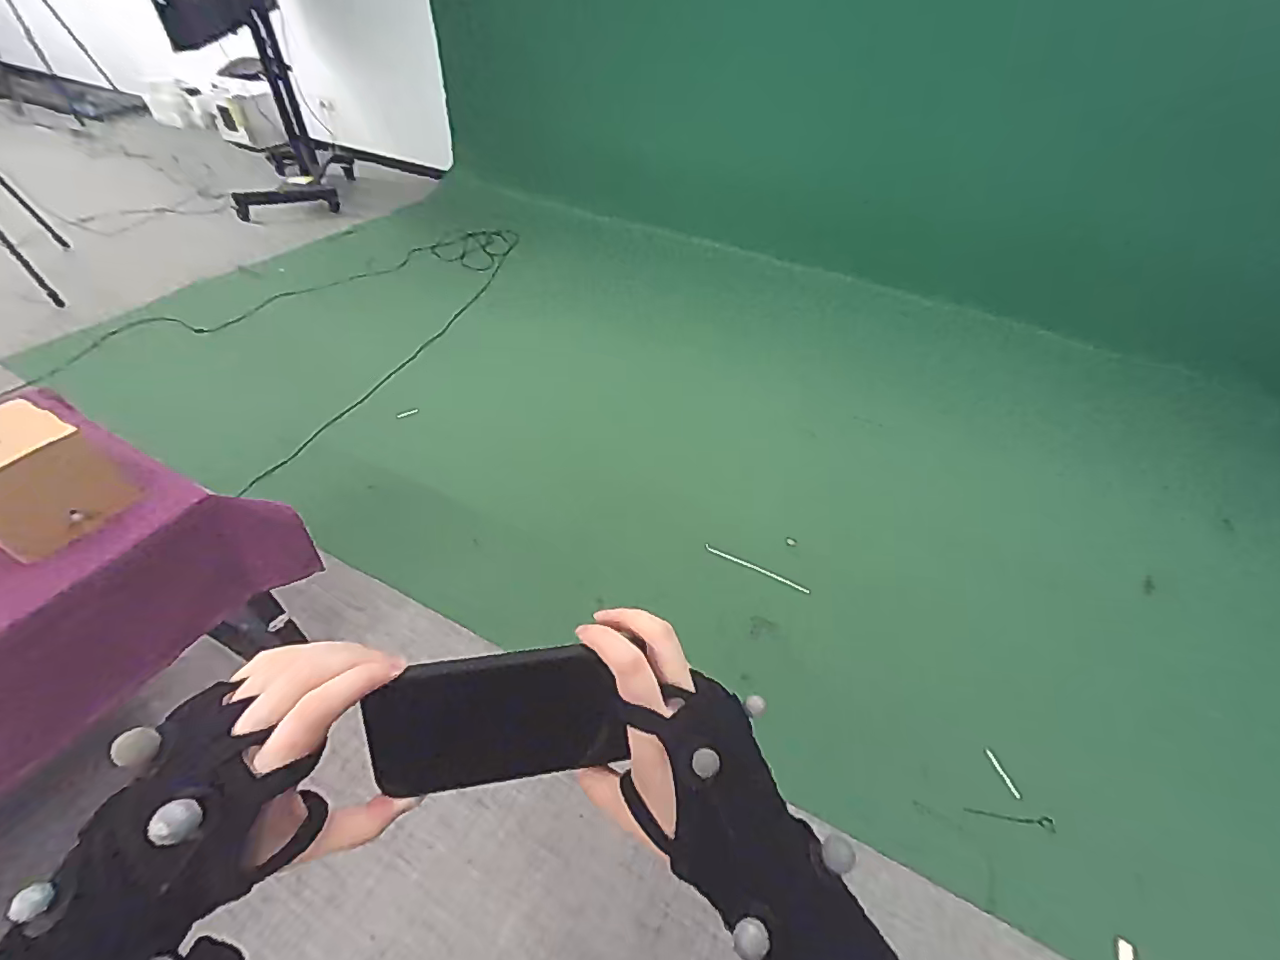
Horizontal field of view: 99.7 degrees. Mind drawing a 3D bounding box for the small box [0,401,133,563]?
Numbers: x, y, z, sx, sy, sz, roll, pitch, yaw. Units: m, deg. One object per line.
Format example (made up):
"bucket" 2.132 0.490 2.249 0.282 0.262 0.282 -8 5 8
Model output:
"small box" -1.007 0.003 0.896 0.168 0.176 0.179 21 48 17
